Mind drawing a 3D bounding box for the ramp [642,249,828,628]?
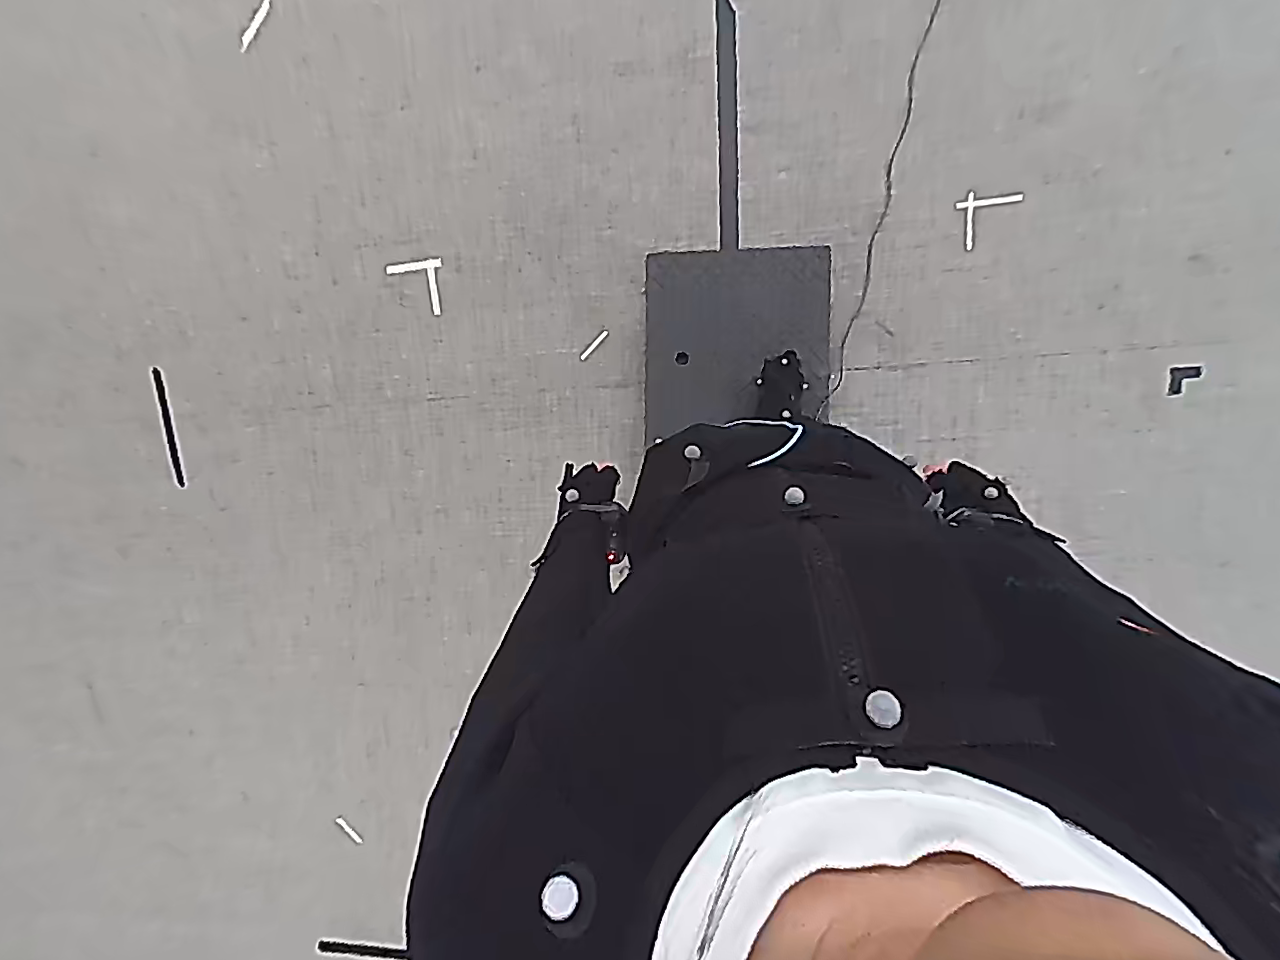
[{"bbox_3d":[0.249,-0.113,1.453,0.509,0.206,0.991,-1,99,9],"label":"ramp"}]
